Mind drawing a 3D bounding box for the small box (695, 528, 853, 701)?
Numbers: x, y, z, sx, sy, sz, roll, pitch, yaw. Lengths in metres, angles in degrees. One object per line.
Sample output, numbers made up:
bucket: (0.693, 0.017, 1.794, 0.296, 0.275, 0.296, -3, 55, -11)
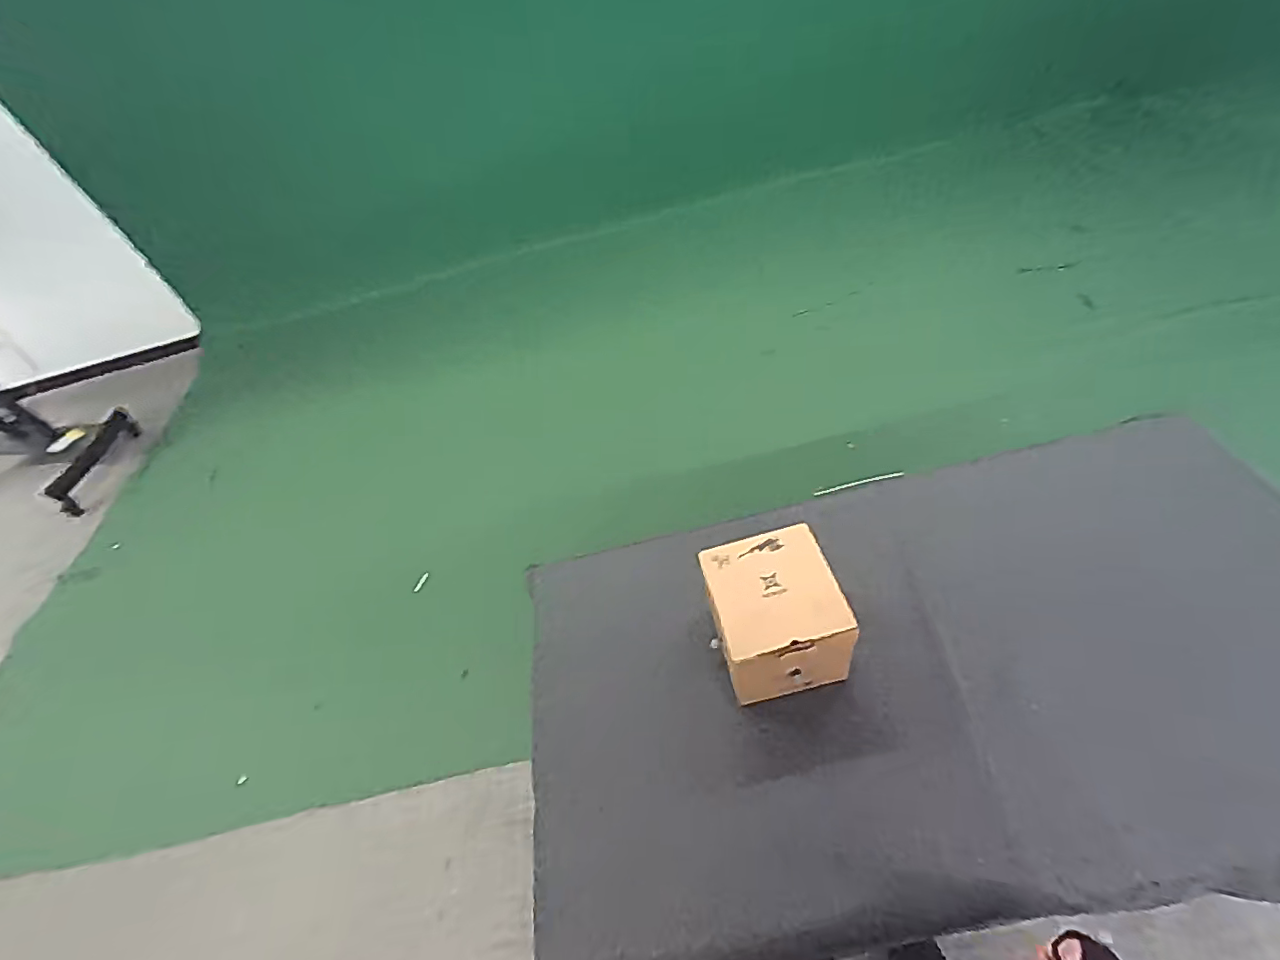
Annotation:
small box: (0.194, 0.206, 0.799, 0.168, 0.176, 0.179, -18, 47, 0)
